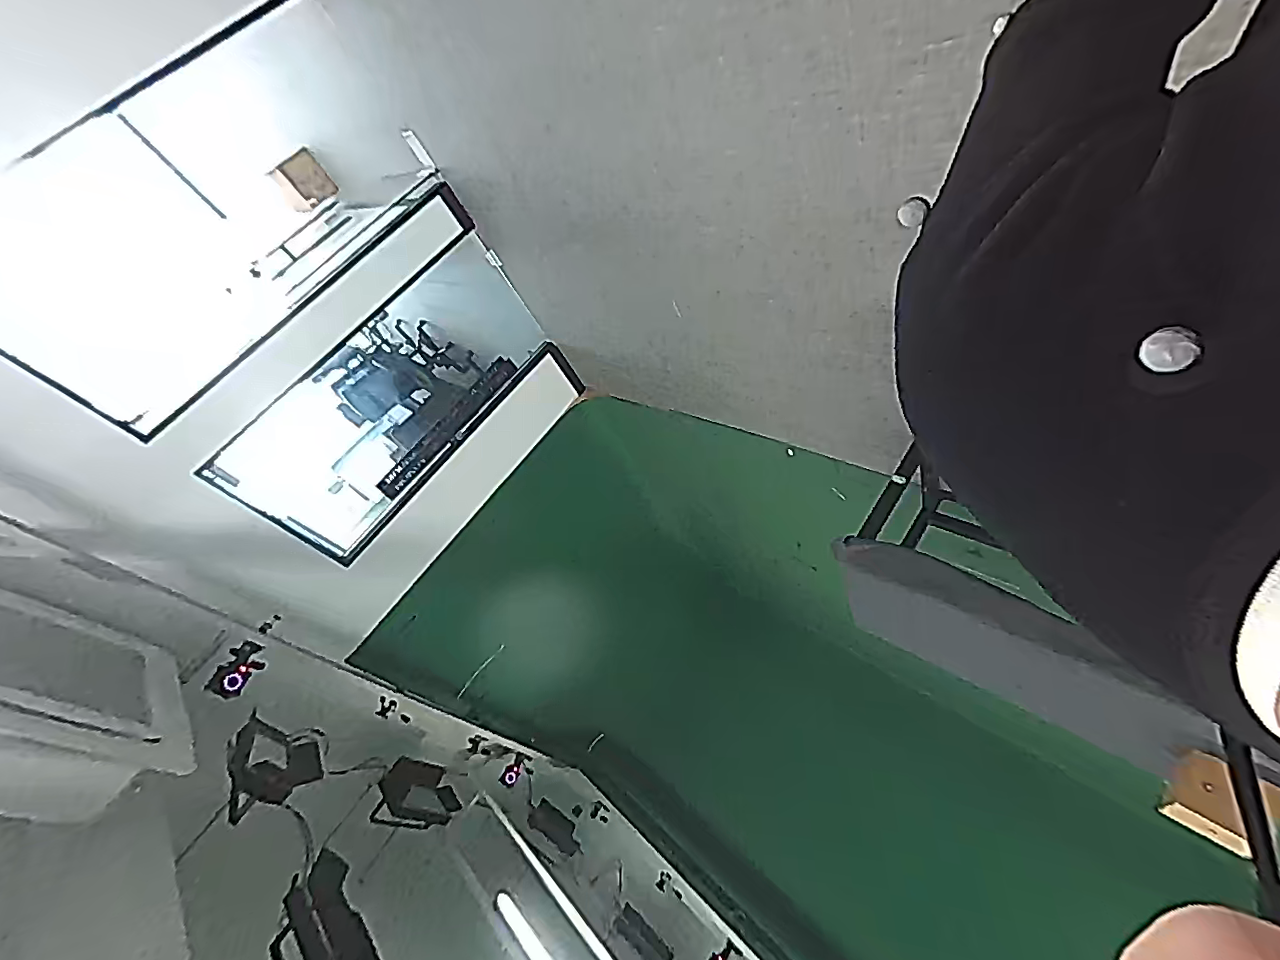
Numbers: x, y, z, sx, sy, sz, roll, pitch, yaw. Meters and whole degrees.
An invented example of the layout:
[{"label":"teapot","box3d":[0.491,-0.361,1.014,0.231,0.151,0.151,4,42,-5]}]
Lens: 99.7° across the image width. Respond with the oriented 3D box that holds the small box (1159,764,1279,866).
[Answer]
[{"label":"small box","box3d":[1.552,0.884,1.442,0.179,0.176,0.168,25,160,38]}]
